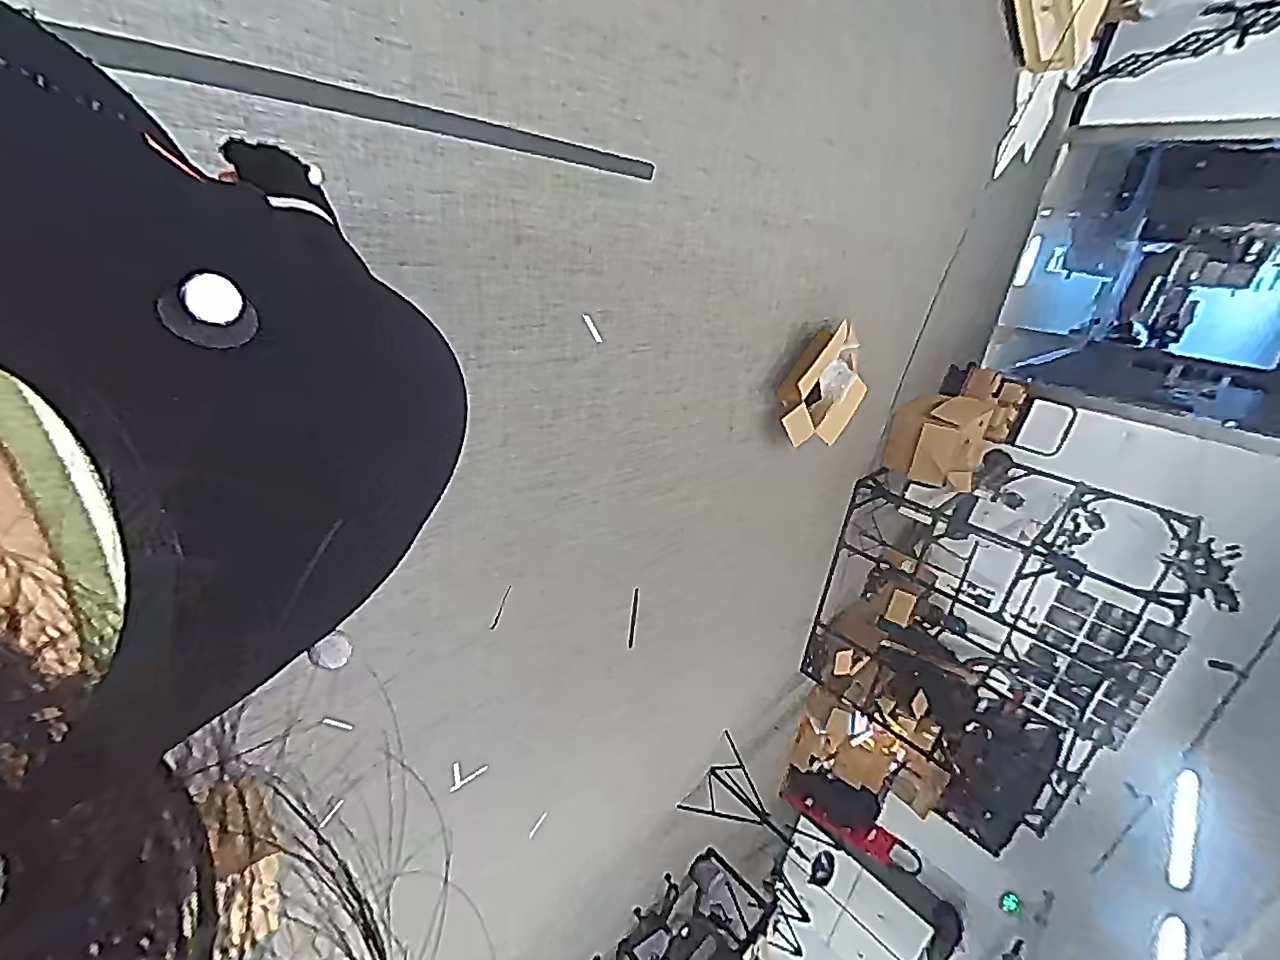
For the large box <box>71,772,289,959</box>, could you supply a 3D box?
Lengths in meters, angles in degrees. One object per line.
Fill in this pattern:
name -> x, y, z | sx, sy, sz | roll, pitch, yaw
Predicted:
large box -> -1.231, 1.101, 1.469 | 0.408, 0.320, 0.320 | -9, 117, -46
